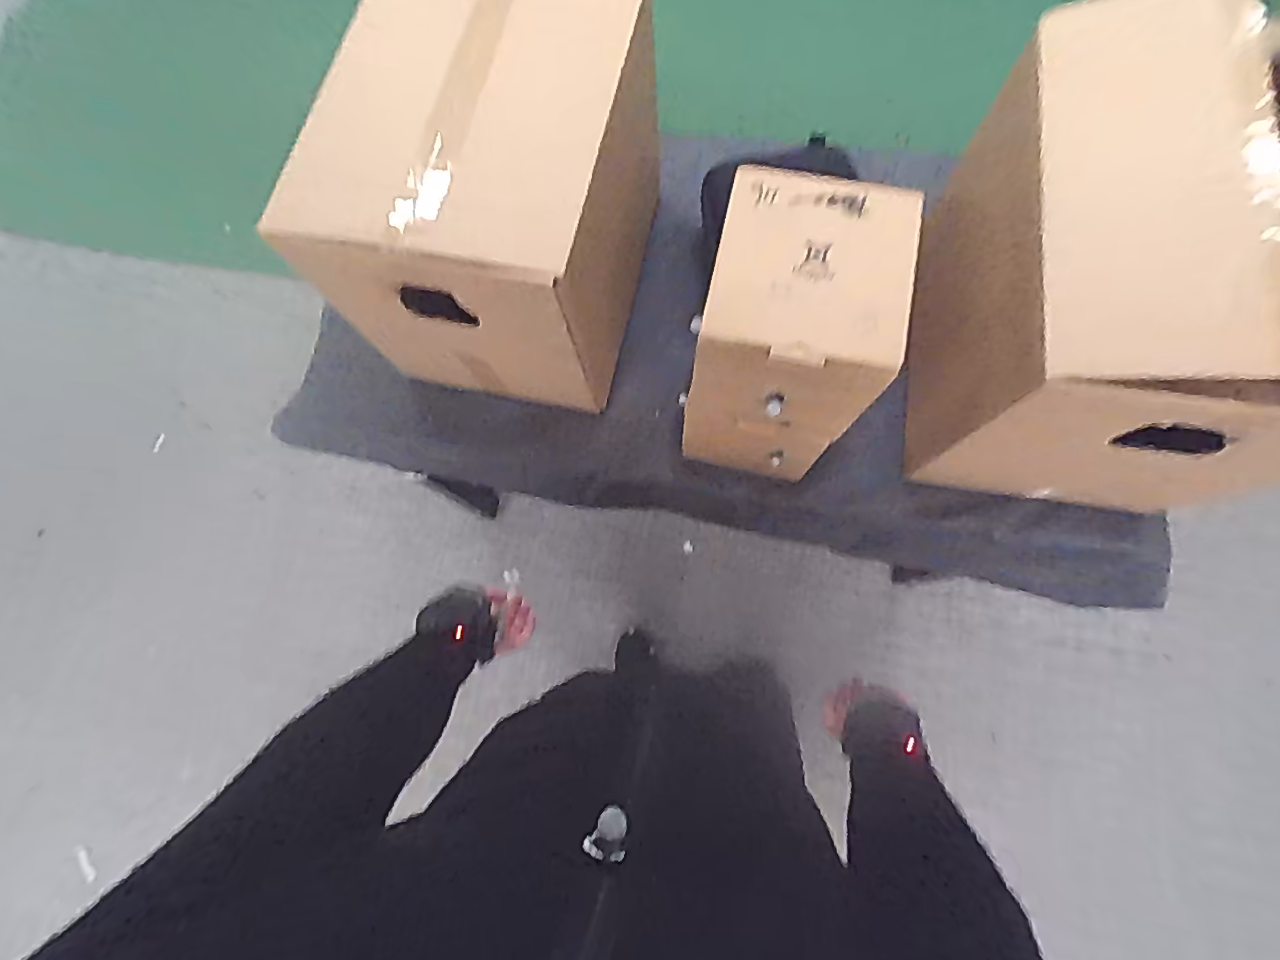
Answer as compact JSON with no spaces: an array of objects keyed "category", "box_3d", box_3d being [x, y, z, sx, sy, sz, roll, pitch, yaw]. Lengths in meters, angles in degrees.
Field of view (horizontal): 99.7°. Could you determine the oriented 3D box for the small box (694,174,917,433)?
[{"category":"small box","box_3d":[0.150,-0.161,0.542,0.168,0.176,0.179,12,77,6]}]
